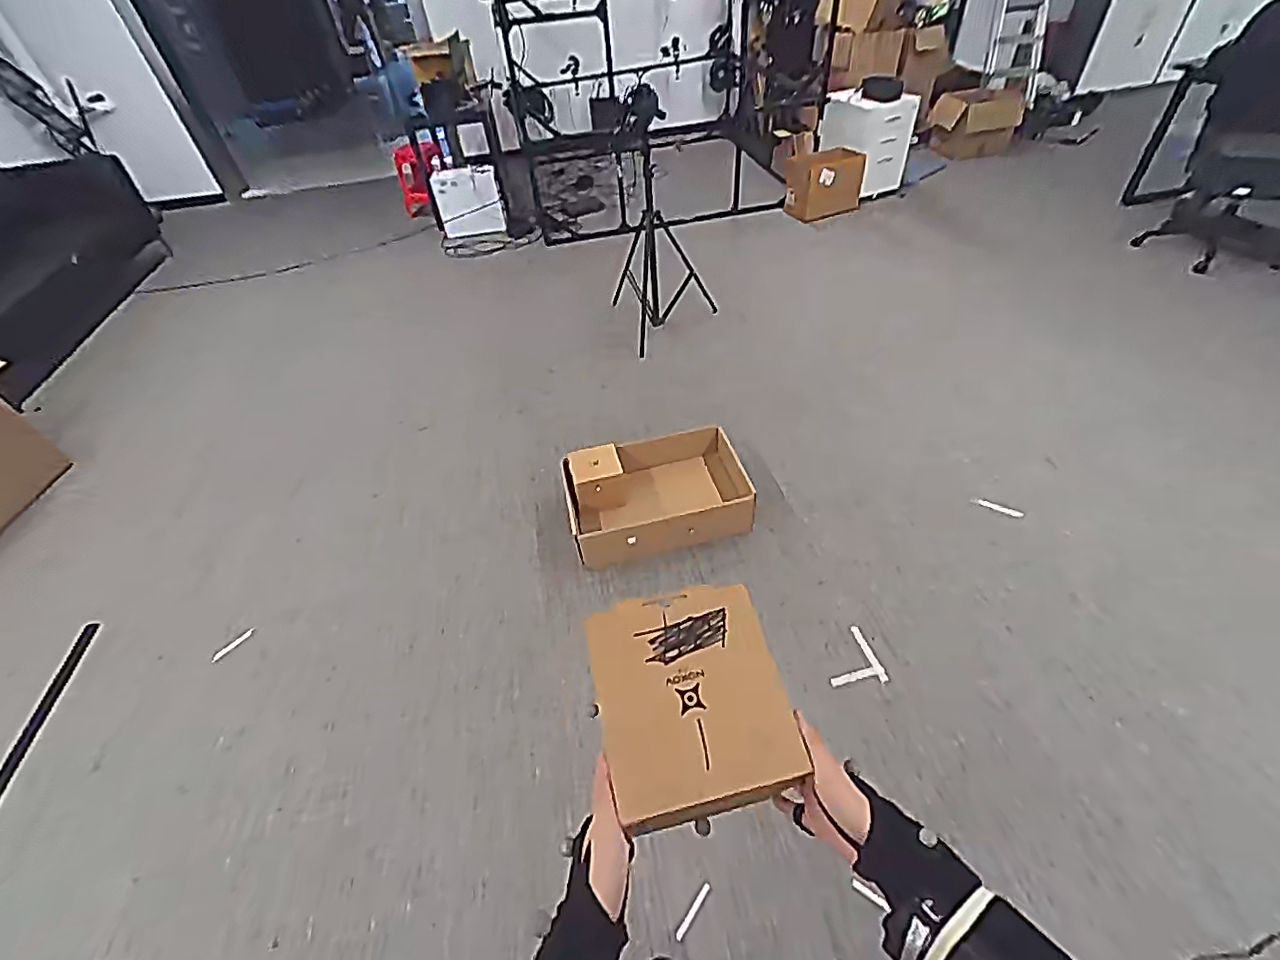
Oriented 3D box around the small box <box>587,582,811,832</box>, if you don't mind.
[{"bbox_3d":[0.044,0.231,0.545,0.168,0.176,0.179,-11,54,-7],"label":"small box"}]
